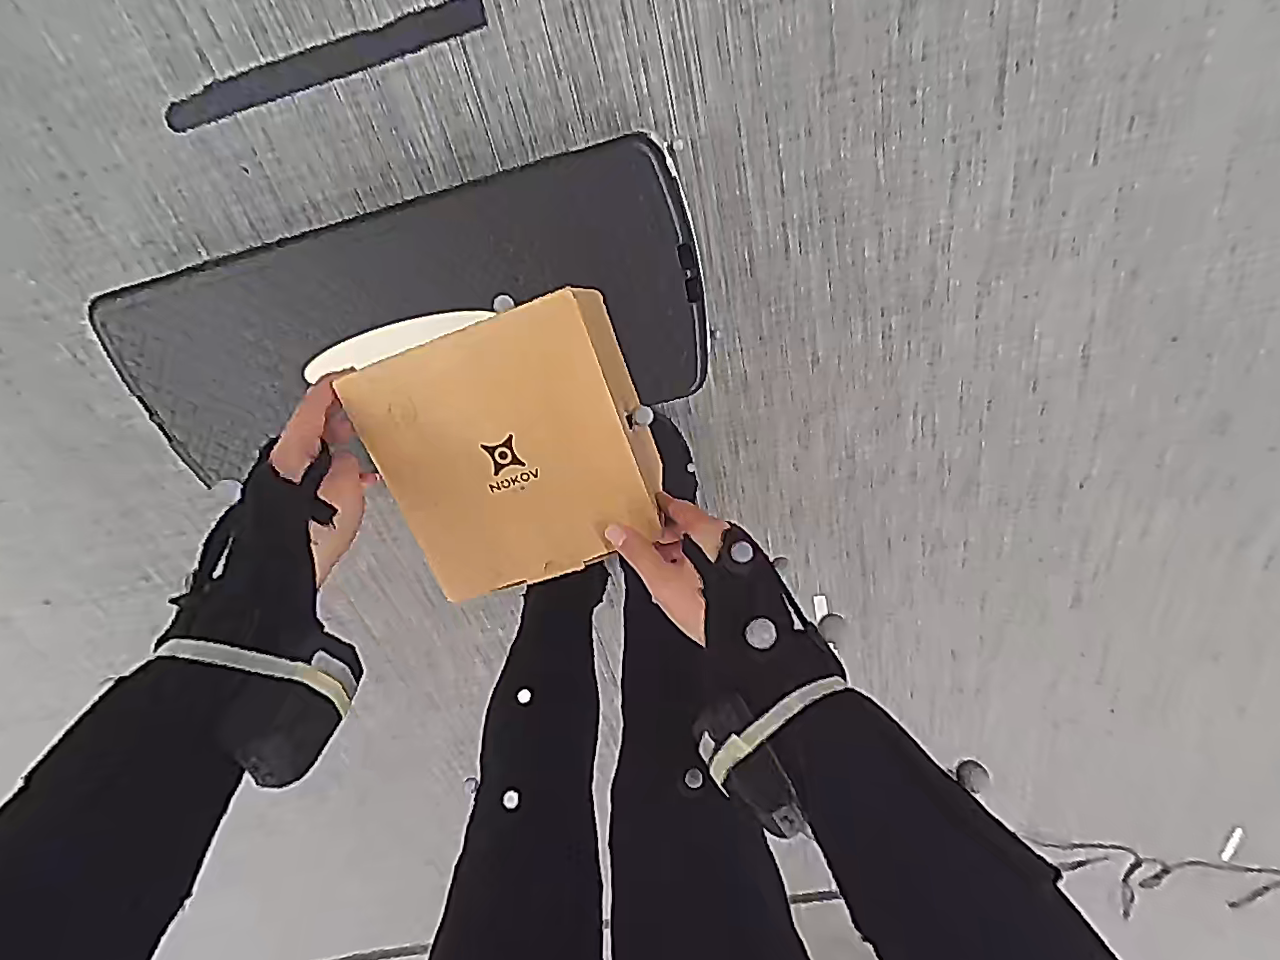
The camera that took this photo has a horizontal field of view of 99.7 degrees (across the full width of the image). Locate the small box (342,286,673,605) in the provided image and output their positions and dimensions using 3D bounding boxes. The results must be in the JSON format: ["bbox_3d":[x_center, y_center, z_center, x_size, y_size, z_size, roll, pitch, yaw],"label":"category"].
[{"bbox_3d":[-0.082,-0.038,0.426,0.168,0.176,0.179,-19,109,7],"label":"small box"}]
